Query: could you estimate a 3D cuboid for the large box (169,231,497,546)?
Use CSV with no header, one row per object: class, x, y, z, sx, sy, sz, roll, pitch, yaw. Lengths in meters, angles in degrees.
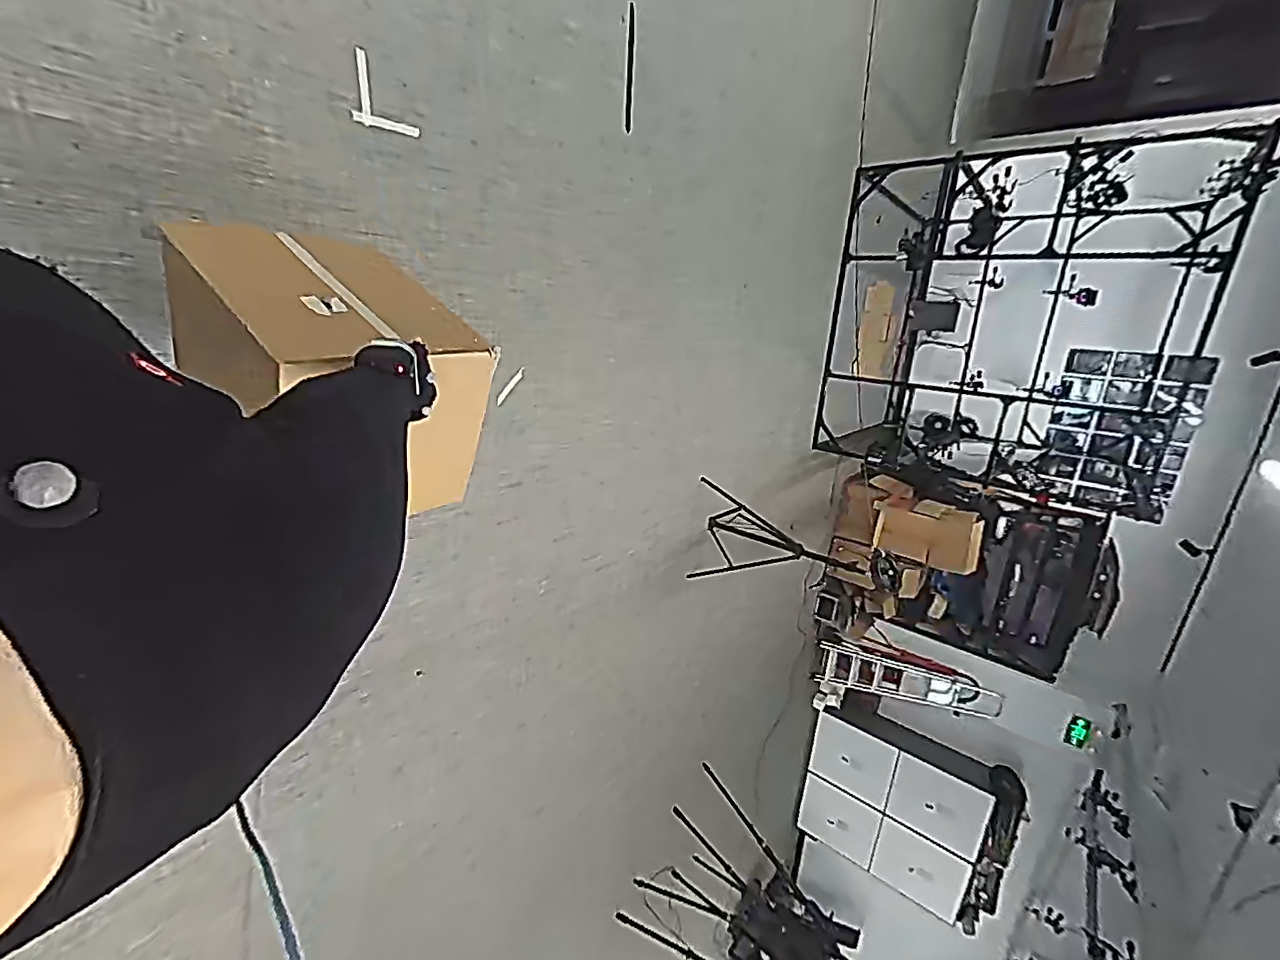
large box,-0.518,-0.162,0.909,0.320,0.408,0.320,-21,145,-49
